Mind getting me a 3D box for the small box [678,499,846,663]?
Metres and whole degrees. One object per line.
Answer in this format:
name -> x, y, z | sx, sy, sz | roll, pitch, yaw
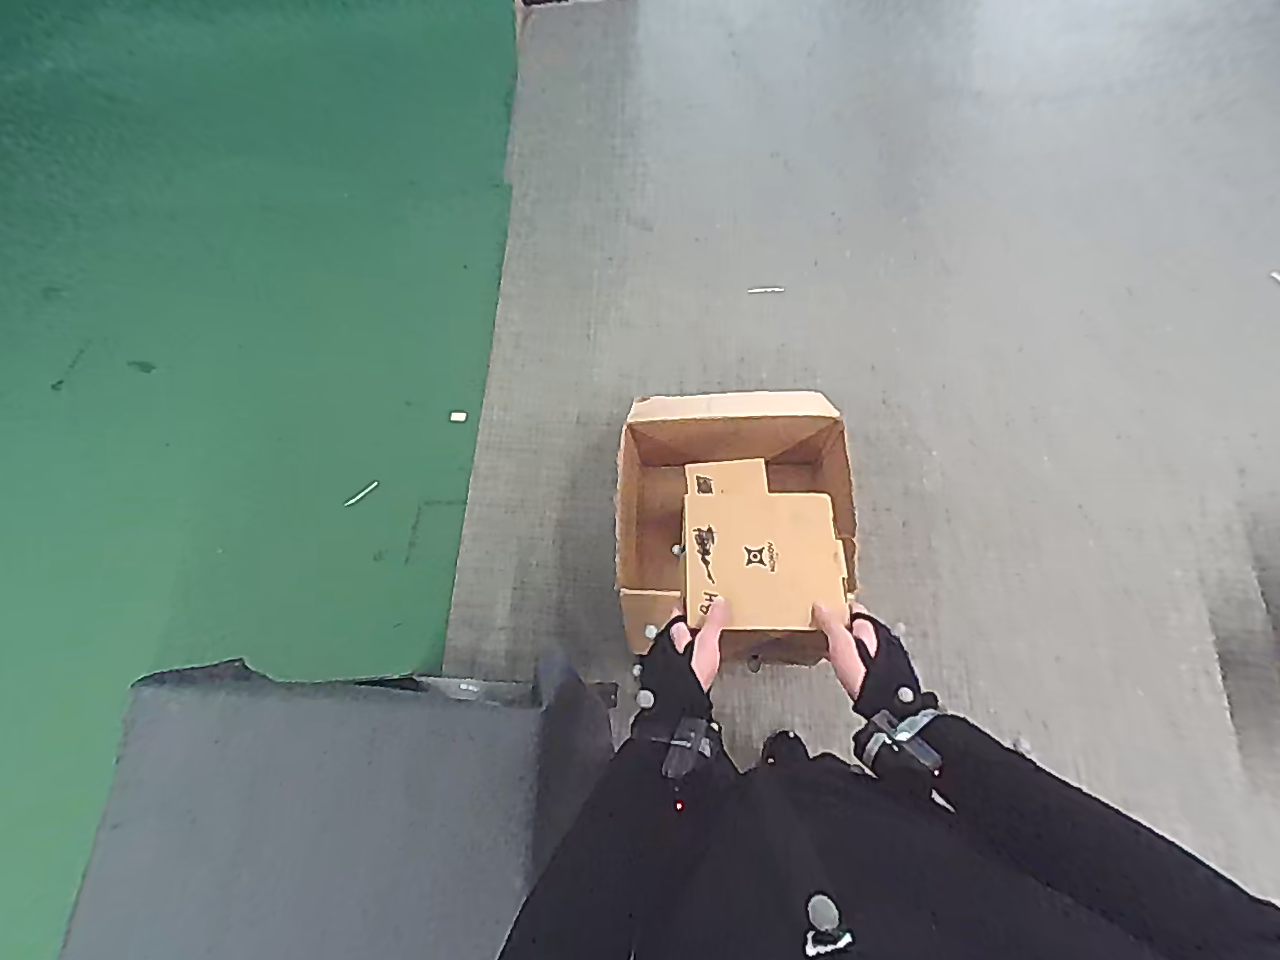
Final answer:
small box -> 0.141, 0.135, 0.694 | 0.179, 0.176, 0.168 | -1, 61, 2
